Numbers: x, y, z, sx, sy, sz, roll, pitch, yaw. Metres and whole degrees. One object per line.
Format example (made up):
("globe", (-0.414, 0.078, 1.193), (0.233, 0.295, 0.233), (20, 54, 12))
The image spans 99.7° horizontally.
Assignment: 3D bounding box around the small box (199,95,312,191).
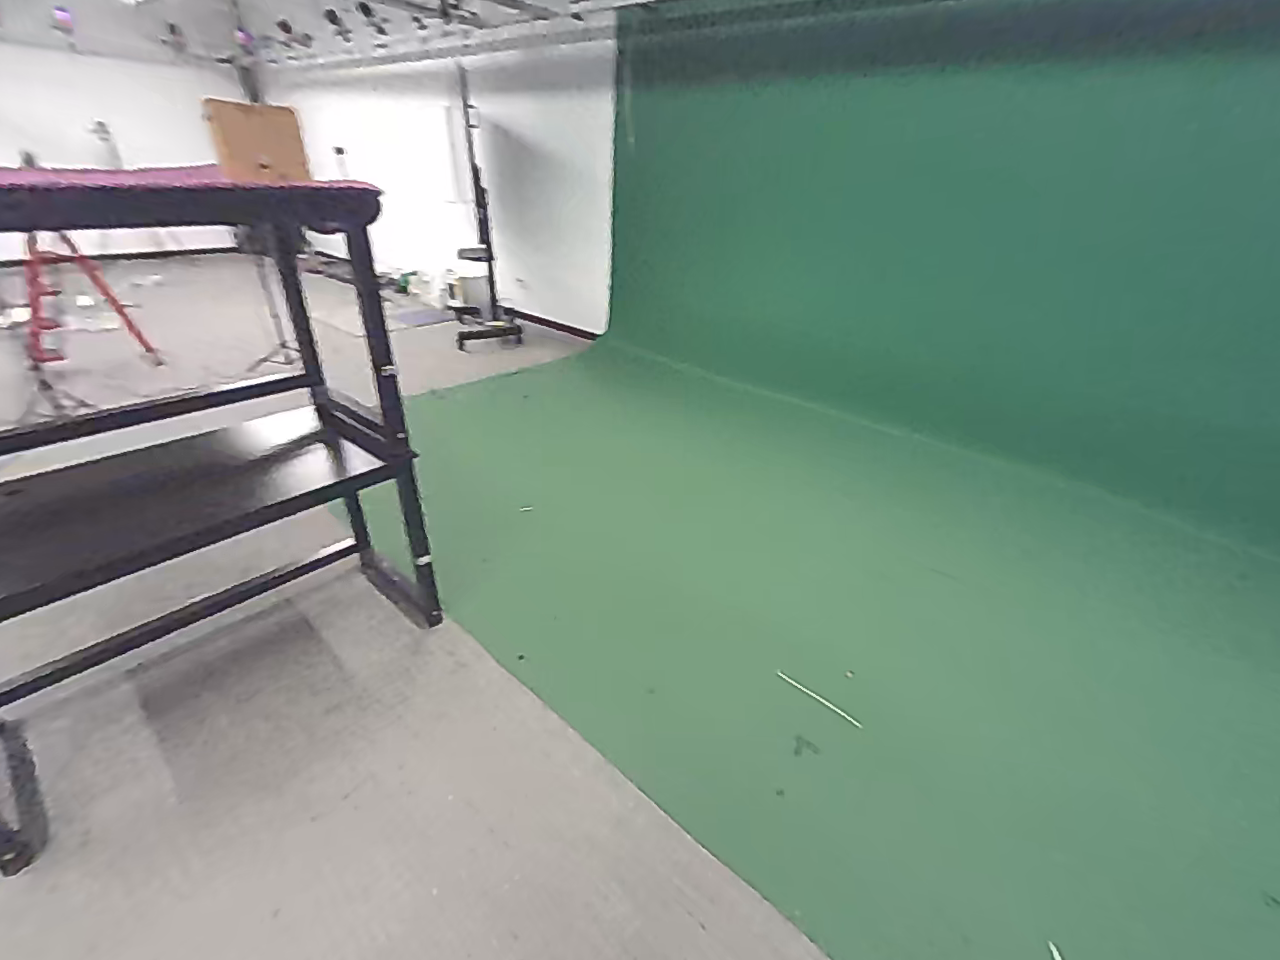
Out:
("small box", (-0.884, -0.772, 1.246), (0.168, 0.176, 0.179), (-21, 39, -34))
